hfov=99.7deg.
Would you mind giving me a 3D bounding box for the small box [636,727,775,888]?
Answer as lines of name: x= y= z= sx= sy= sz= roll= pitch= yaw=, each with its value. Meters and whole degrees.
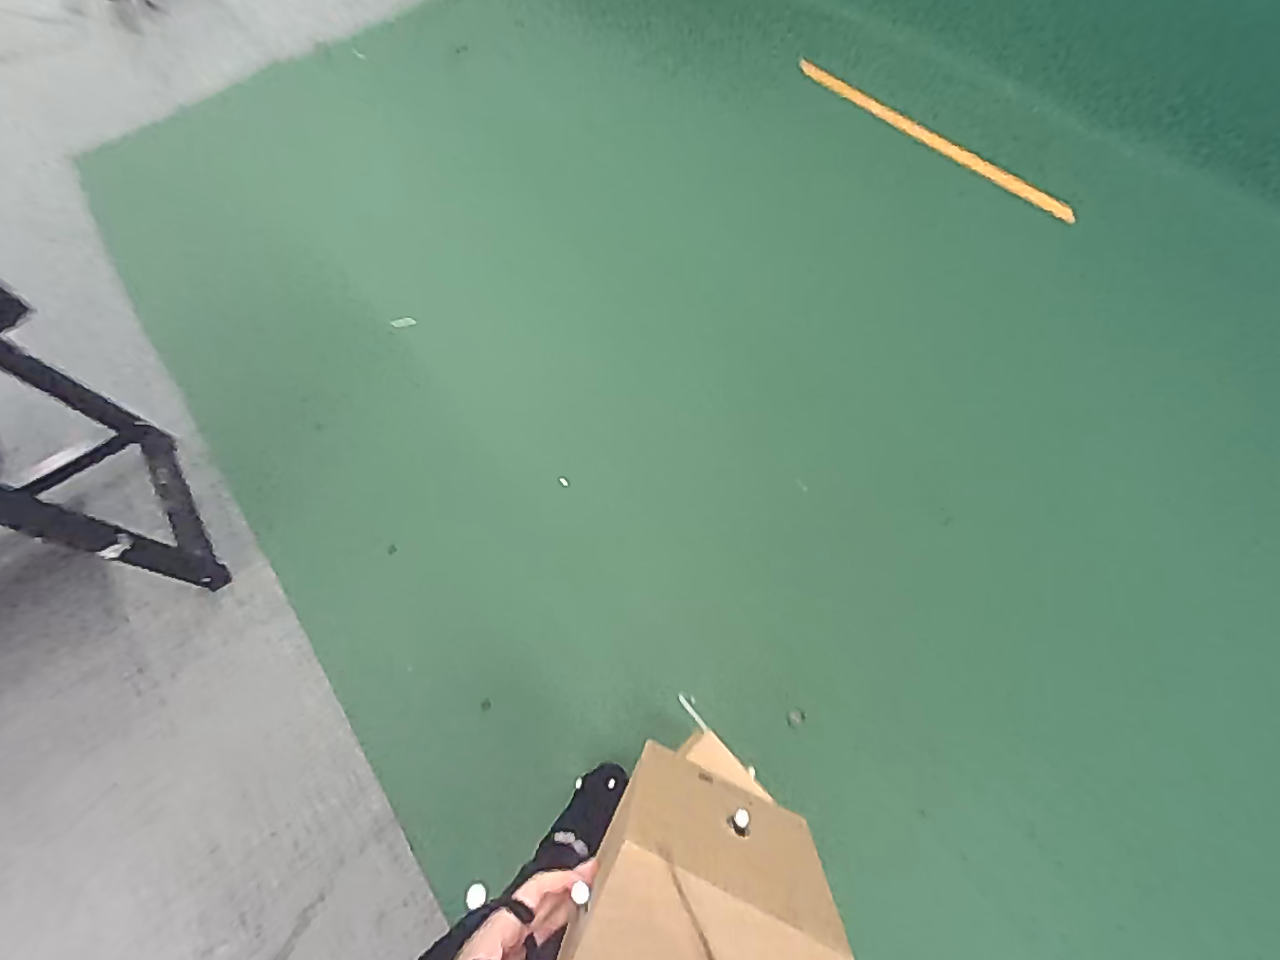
small box: x=0.109 y=0.568 z=0.968 sx=0.179 sy=0.176 sz=0.168 roll=-40 pitch=70 yaw=-14
